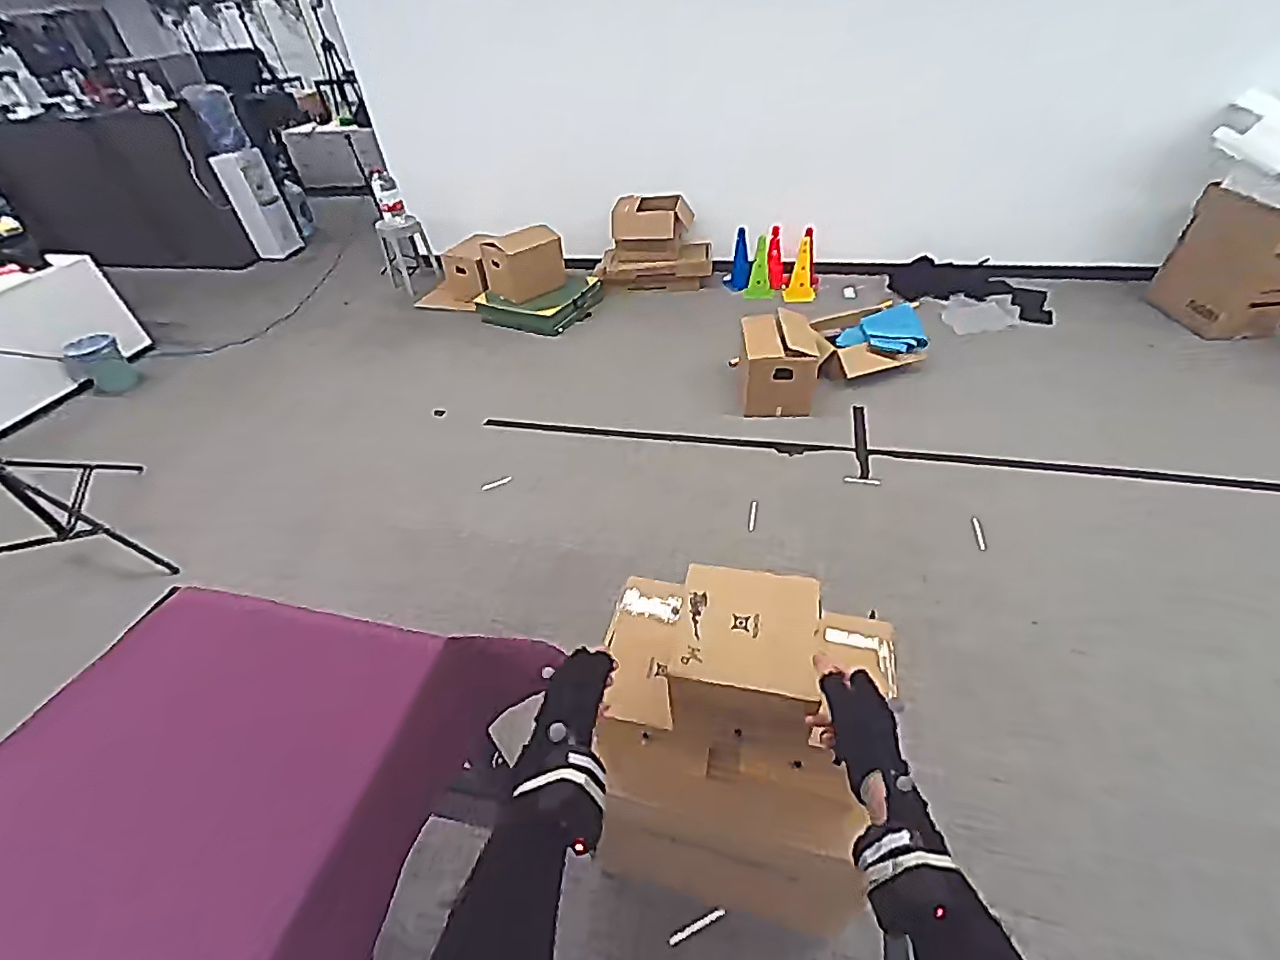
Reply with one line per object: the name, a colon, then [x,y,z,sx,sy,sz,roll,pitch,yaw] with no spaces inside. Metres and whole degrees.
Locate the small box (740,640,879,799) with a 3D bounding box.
small box: [0.253,0.356,0.820,0.179,0.176,0.168,7,44,17]

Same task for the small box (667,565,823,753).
small box: [0.140,0.239,0.719,0.179,0.176,0.168,6,44,13]

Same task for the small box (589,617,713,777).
small box: [0.034,0.345,0.857,0.179,0.176,0.168,8,45,12]
